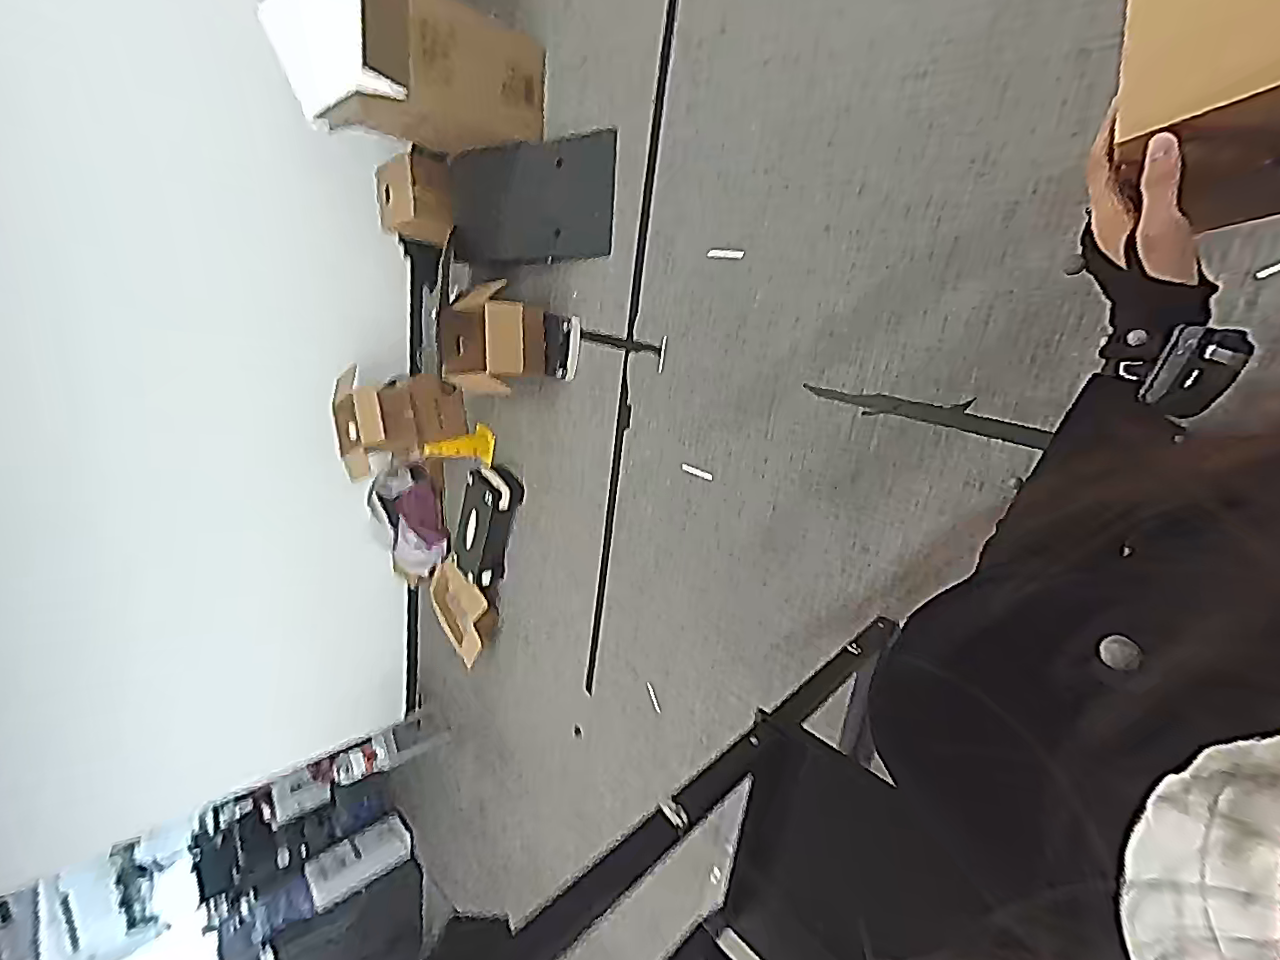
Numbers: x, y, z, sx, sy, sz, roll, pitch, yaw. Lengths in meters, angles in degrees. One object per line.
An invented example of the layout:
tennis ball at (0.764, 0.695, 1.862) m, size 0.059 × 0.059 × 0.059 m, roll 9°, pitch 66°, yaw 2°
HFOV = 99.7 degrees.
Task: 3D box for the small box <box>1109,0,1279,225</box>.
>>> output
small box at (0.465, -0.305, 0.376) m, size 0.168 × 0.176 × 0.179 m, roll 6°, pitch 84°, yaw 54°
